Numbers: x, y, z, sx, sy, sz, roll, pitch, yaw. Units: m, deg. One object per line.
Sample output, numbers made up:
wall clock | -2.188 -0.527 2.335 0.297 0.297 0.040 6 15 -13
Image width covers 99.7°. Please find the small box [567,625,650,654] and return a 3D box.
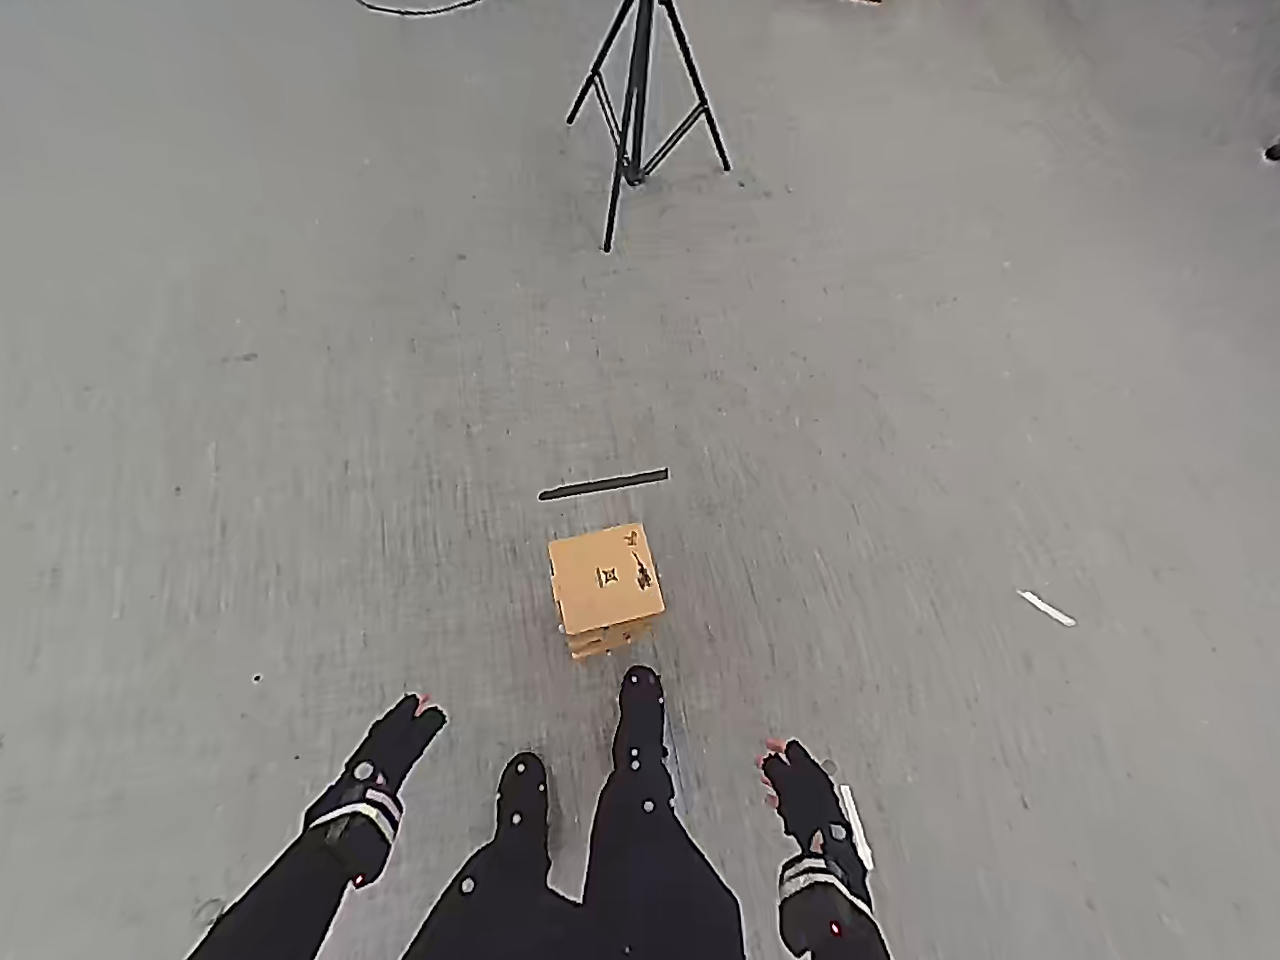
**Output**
small box | -0.083 0.266 1.151 0.168 0.176 0.179 -12 70 -11

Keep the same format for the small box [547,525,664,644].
small box | -0.066 0.200 1.002 0.179 0.176 0.168 -12 71 -9

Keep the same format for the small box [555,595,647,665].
small box | -0.095 0.336 1.297 0.179 0.176 0.168 -17 71 -10
